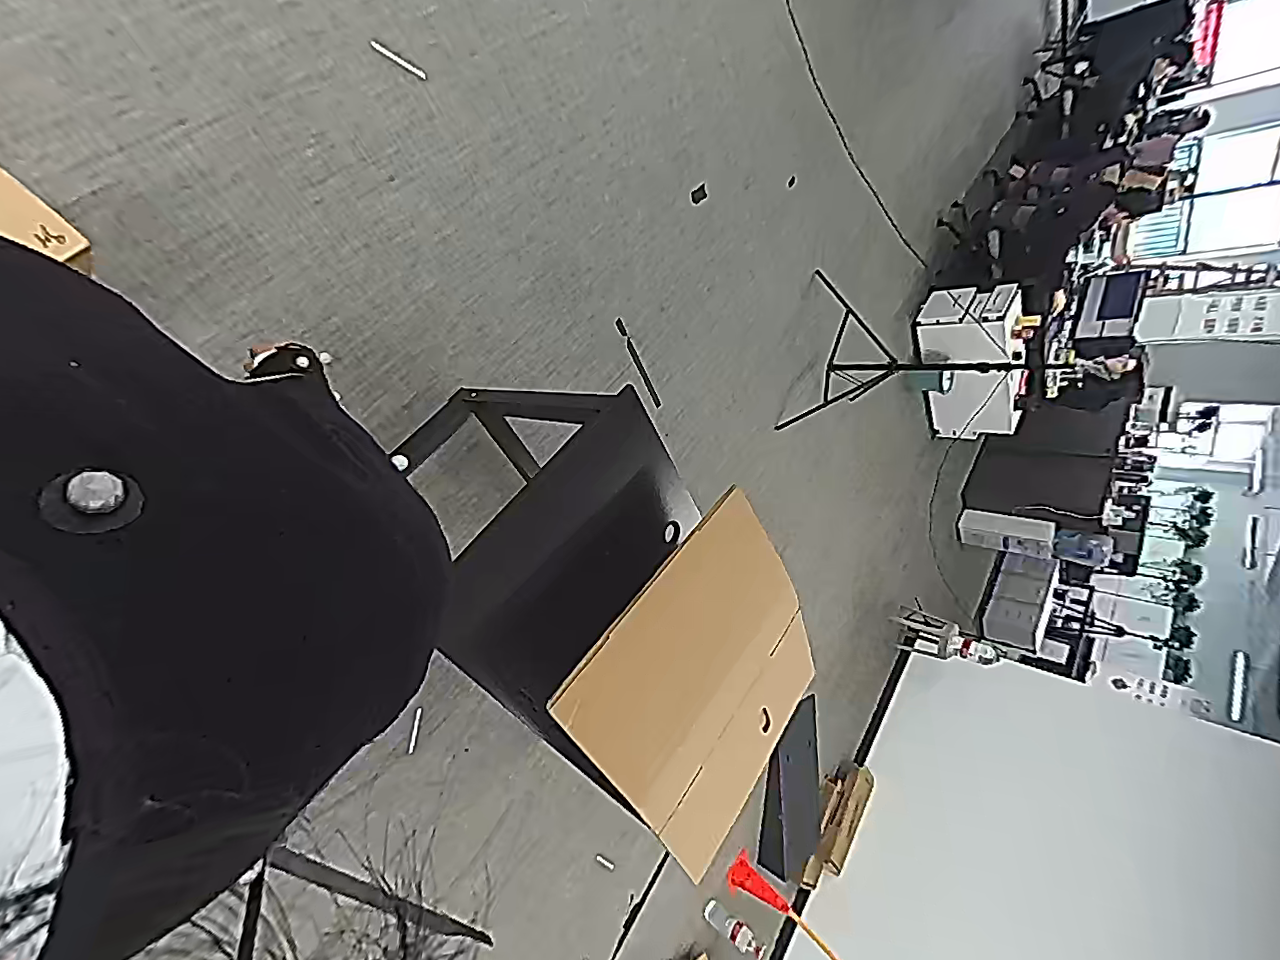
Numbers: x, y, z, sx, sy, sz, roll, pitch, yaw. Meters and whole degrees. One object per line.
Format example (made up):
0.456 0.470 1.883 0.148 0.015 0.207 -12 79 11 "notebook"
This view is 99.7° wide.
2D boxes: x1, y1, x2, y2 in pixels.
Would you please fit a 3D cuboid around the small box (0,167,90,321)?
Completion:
-0.863 -0.315 0.683 0.168 0.176 0.179 -55 131 -24 "small box"

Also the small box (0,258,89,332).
-0.977 -0.336 0.799 0.179 0.176 0.168 -58 133 -23 "small box"

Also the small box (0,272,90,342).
-1.095 -0.351 0.910 0.179 0.176 0.168 -54 130 -23 "small box"
